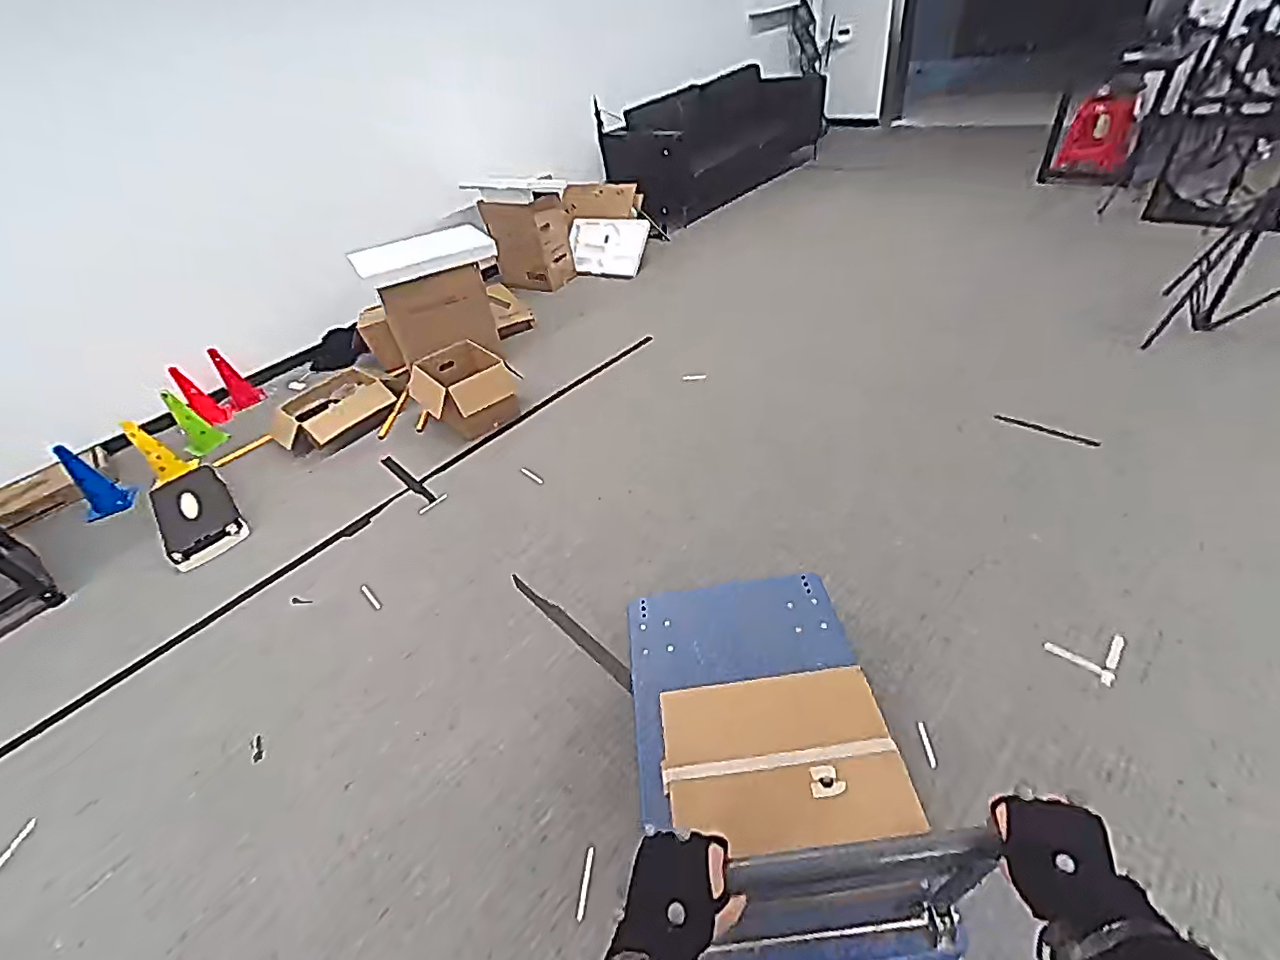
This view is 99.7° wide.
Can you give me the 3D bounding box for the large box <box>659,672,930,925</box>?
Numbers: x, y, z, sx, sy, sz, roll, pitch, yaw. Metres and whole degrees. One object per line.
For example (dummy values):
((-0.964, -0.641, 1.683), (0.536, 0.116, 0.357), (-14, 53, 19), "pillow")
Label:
((0.263, 0.618, 1.051), (0.408, 0.320, 0.320), (-8, 42, 1), "large box")
